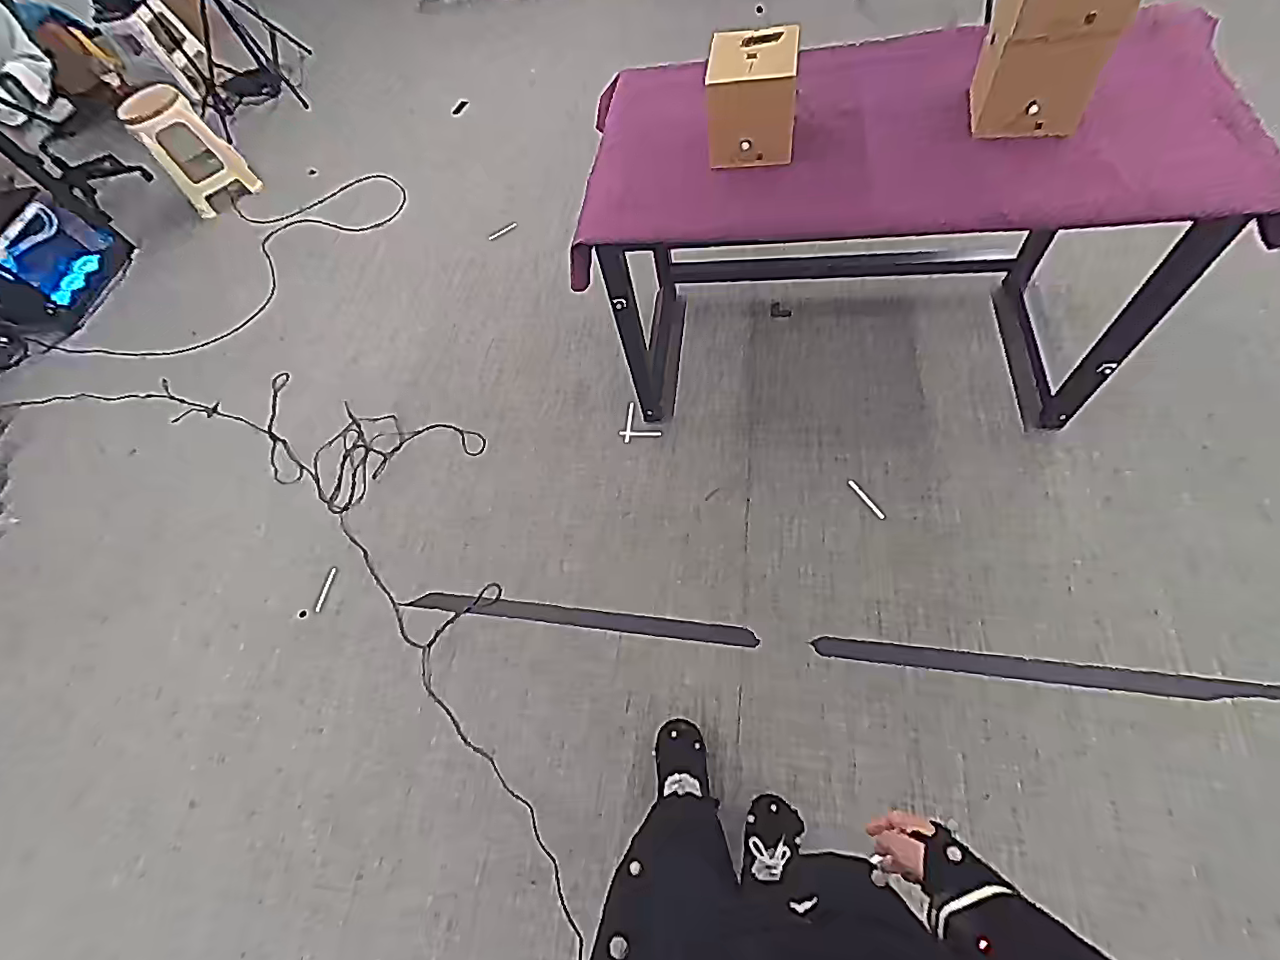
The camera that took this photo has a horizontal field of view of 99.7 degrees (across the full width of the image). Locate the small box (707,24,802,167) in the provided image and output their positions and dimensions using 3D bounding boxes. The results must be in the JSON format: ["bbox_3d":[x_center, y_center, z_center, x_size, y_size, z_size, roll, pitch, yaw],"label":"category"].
[{"bbox_3d":[0.228,-0.760,1.079,0.168,0.176,0.179,4,64,13],"label":"small box"}]

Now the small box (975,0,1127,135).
[{"bbox_3d":[0.726,-0.761,0.979,0.168,0.176,0.179,7,64,16],"label":"small box"}]
